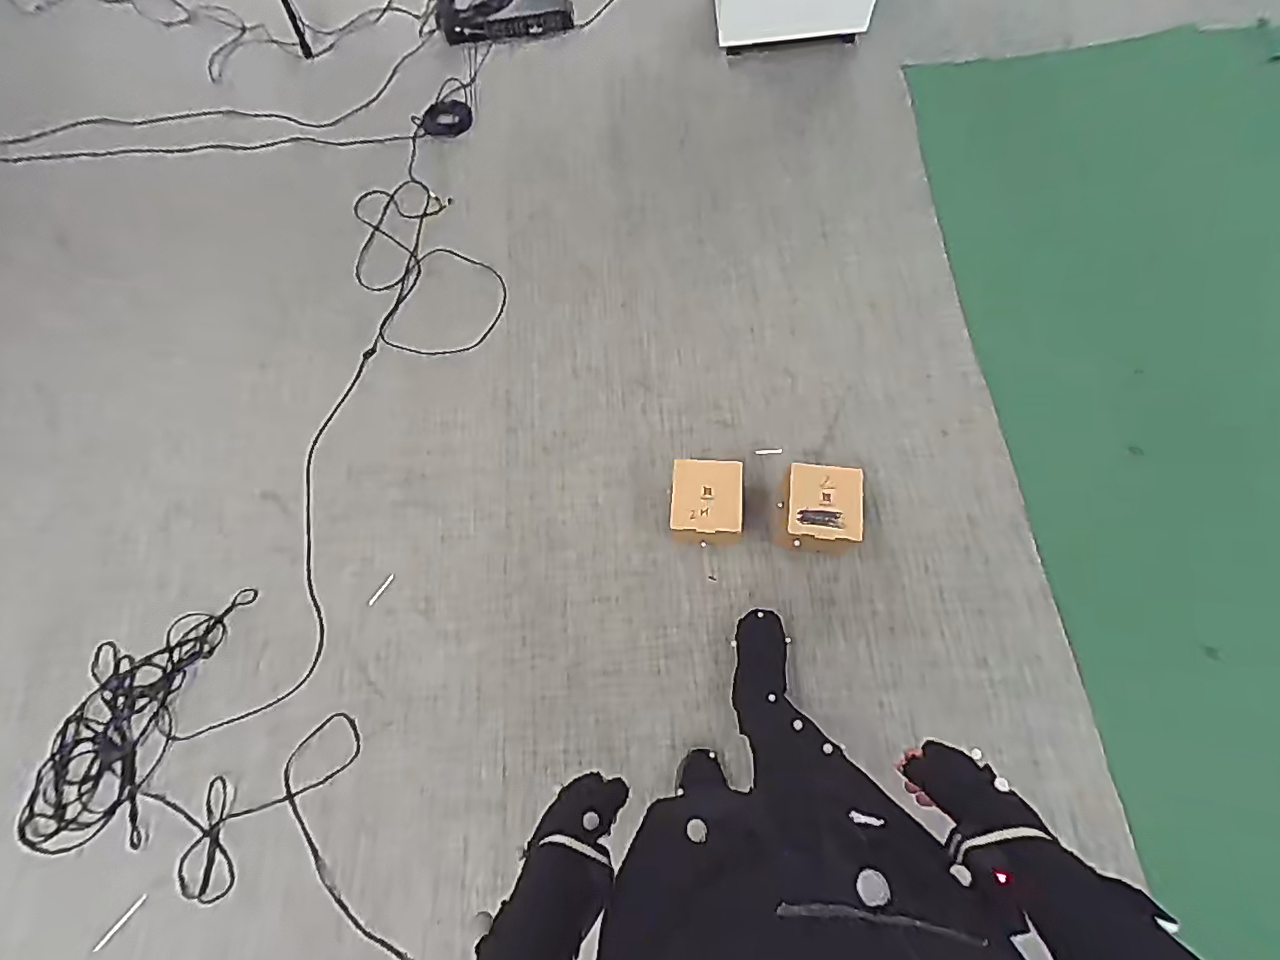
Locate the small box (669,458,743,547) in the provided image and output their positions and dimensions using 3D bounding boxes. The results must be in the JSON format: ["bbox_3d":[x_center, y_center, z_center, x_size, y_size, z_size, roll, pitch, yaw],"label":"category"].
[{"bbox_3d":[0.162,0.060,1.344,0.168,0.176,0.179,3,72,7],"label":"small box"}]
